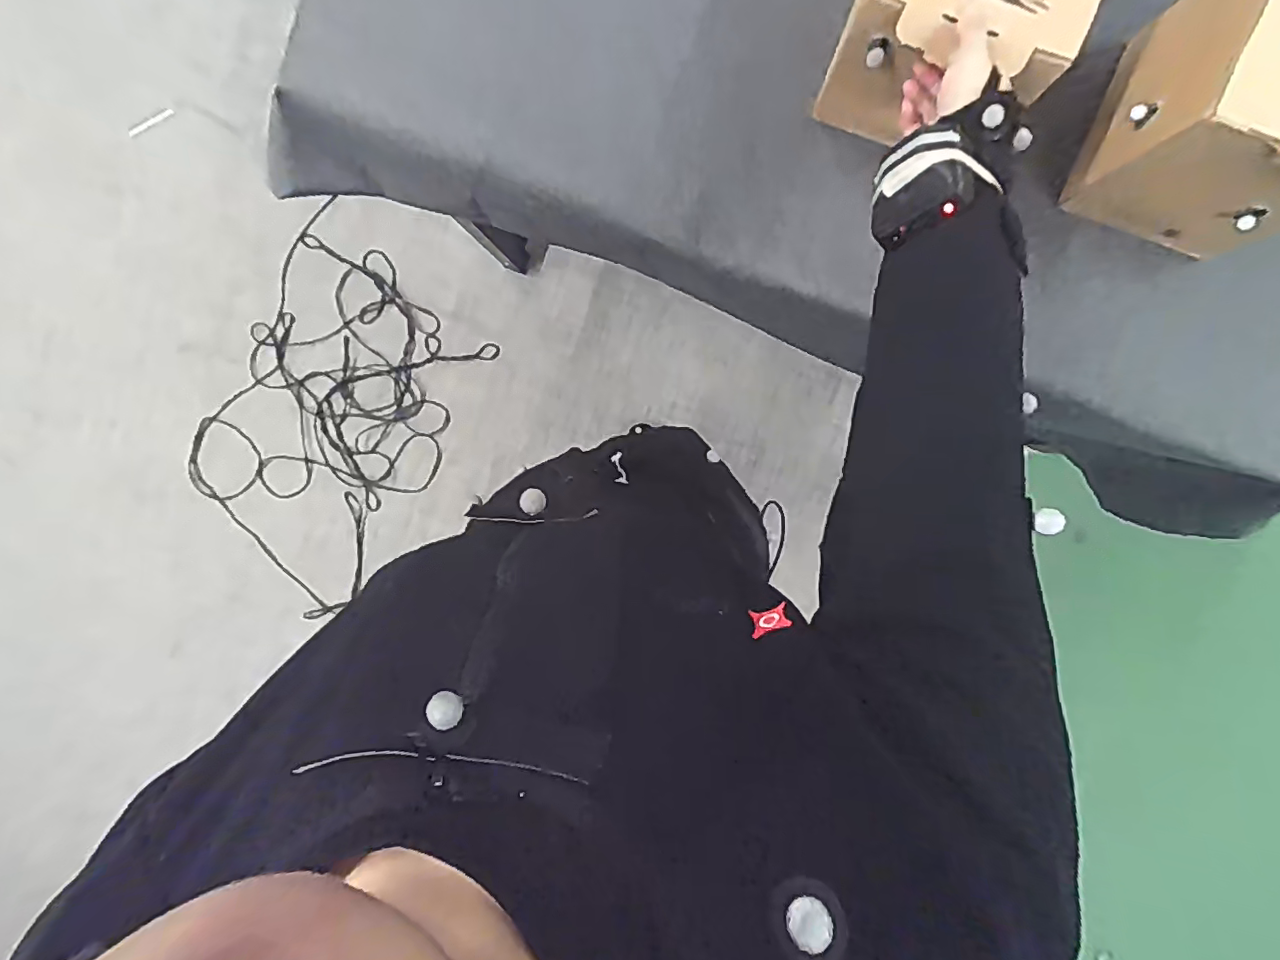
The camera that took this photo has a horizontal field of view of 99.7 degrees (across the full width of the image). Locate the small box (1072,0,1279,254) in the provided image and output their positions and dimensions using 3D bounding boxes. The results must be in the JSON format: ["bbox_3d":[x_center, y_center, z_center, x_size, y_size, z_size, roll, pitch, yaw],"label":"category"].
[{"bbox_3d":[0.536,-0.326,0.472,0.168,0.176,0.179,20,95,0],"label":"small box"}]
